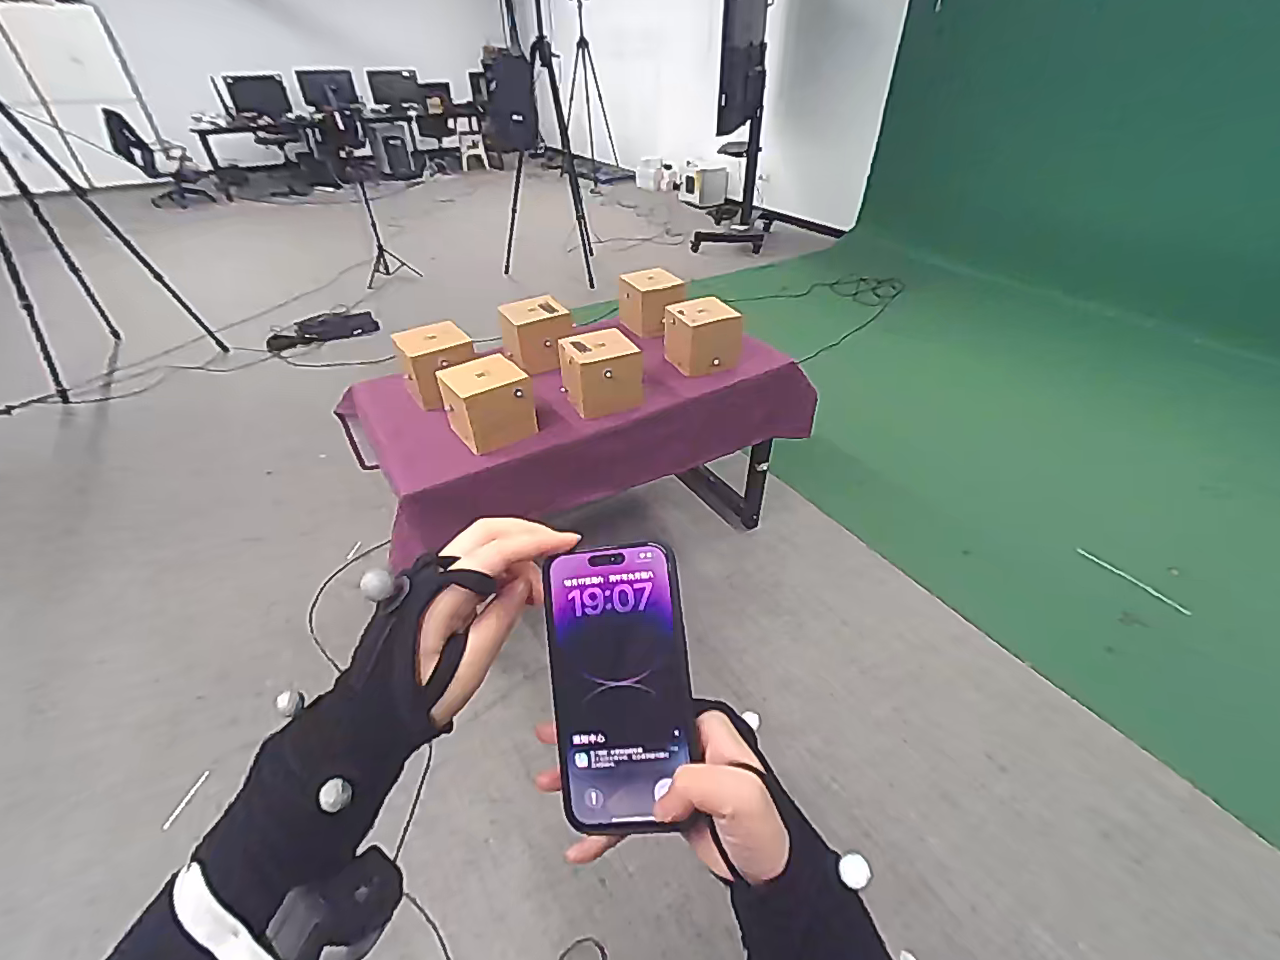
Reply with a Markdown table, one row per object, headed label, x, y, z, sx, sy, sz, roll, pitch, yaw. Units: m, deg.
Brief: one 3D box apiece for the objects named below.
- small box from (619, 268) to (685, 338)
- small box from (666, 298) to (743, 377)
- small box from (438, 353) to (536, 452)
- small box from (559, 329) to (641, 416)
| label | x | y | z | sx | sy | sz | roll | pitch | yaw |
| --- | --- | --- | --- | --- | --- | --- | --- | --- | --- |
| small box | 0.037 | -0.611 | 1.866 | 0.168 | 0.176 | 0.179 | -20 | 44 | -21 |
| small box | 0.189 | -0.437 | 1.654 | 0.179 | 0.176 | 0.168 | -16 | 42 | -19 |
| small box | -0.380 | -0.195 | 1.364 | 0.179 | 0.176 | 0.168 | -25 | 45 | -29 |
| small box | -0.106 | -0.293 | 1.482 | 0.179 | 0.176 | 0.168 | -17 | 42 | -20 |
